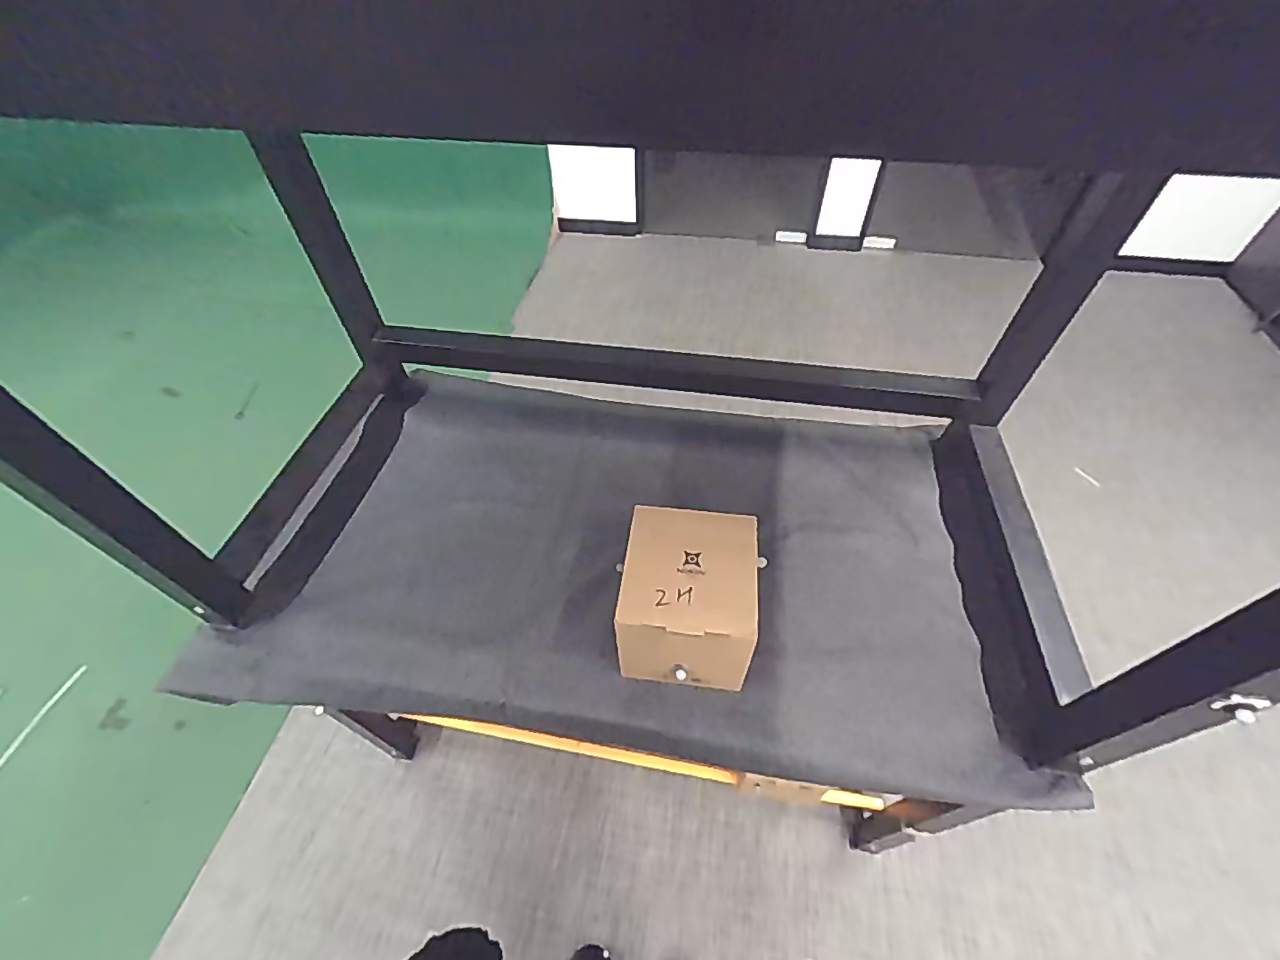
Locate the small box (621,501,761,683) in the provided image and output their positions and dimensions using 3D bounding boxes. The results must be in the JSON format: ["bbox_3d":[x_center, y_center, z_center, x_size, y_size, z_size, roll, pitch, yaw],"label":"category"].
[{"bbox_3d":[0.070,0.153,0.740,0.168,0.176,0.179,5,50,6],"label":"small box"}]
